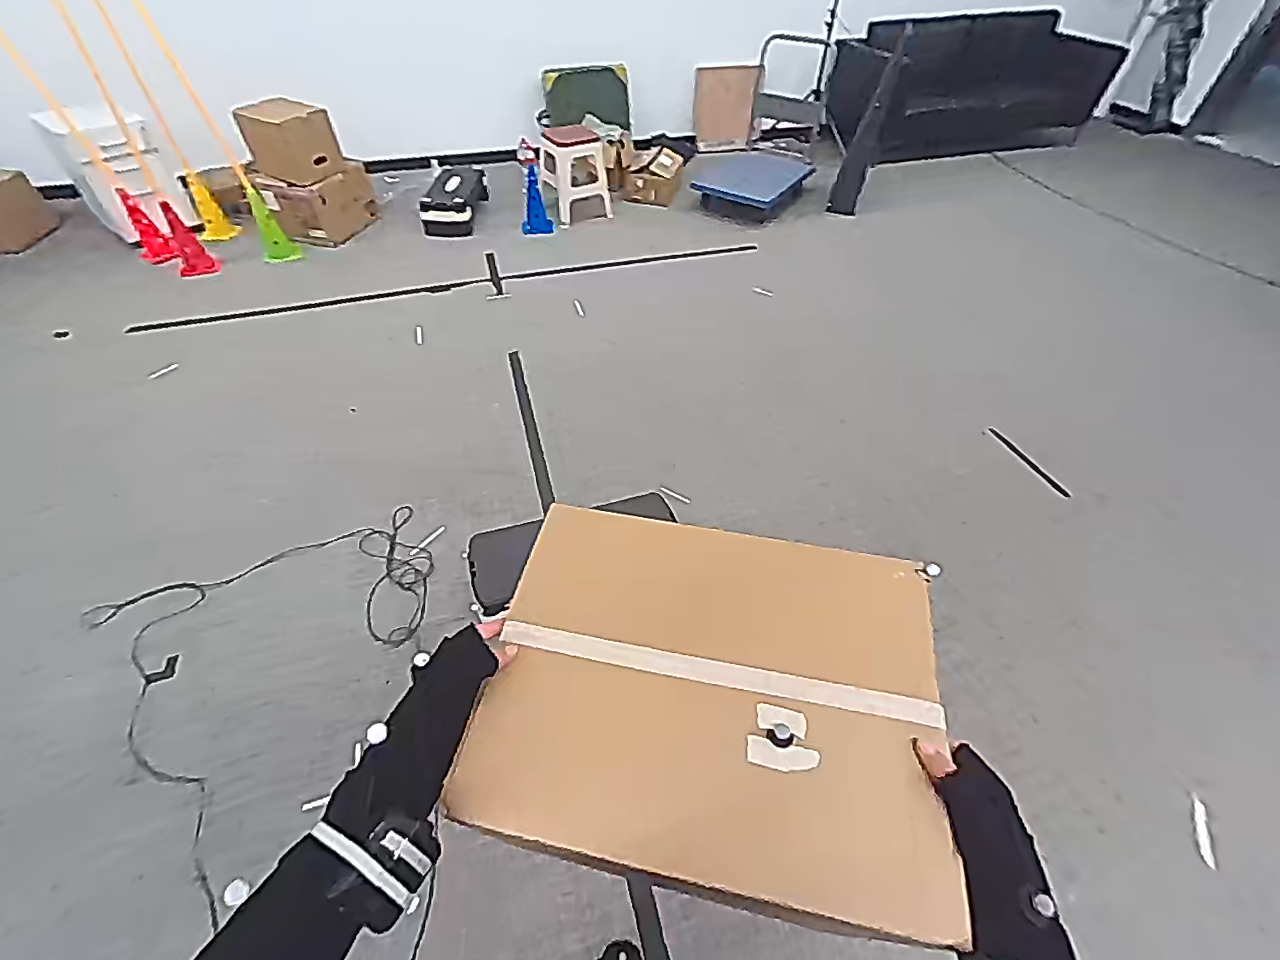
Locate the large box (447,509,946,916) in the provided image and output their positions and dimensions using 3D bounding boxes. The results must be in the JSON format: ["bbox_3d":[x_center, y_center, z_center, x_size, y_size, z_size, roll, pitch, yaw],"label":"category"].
[{"bbox_3d":[0.062,0.268,0.628,0.408,0.320,0.320,8,53,8],"label":"large box"}]
